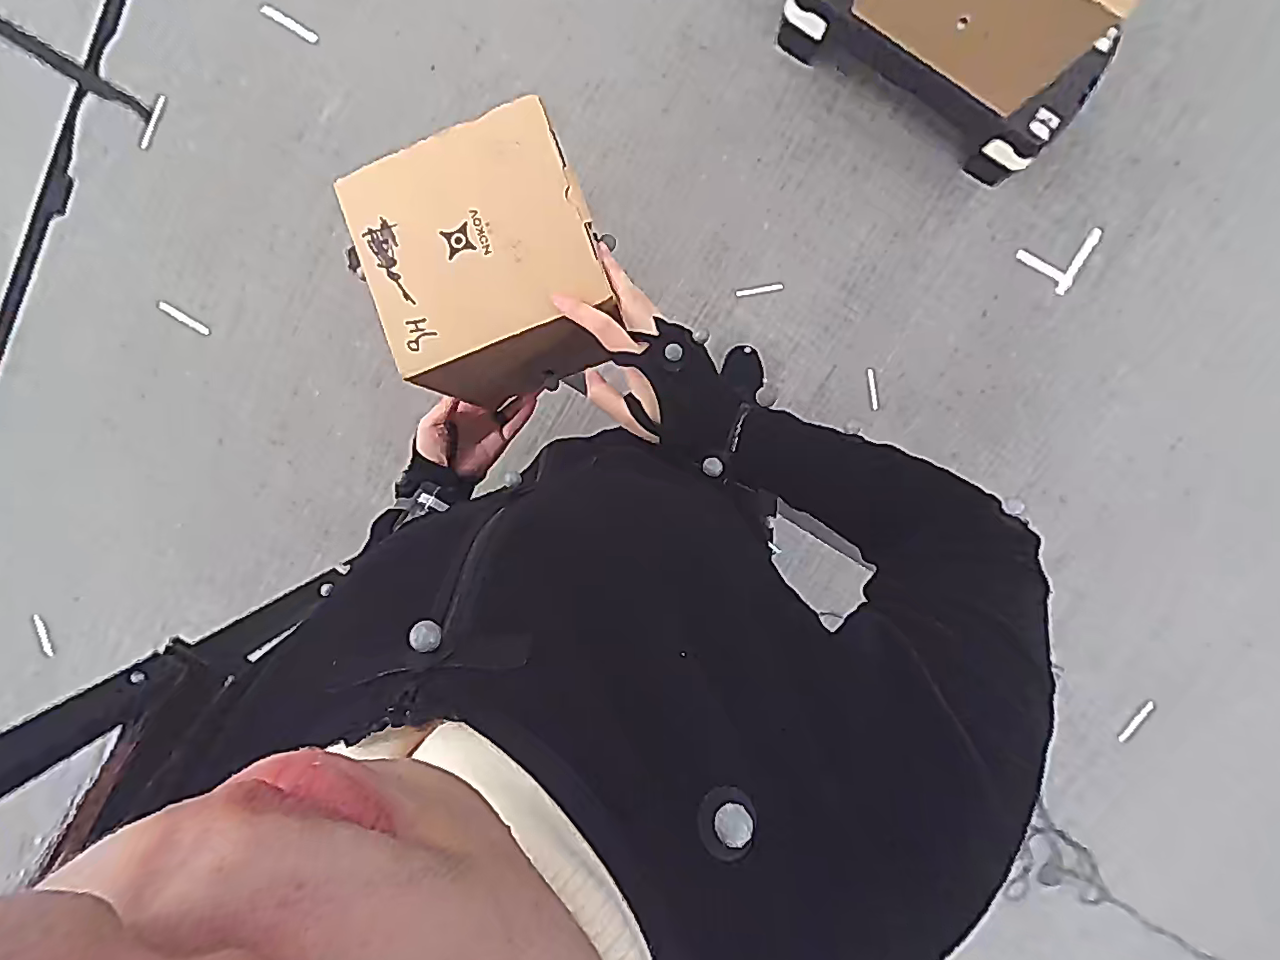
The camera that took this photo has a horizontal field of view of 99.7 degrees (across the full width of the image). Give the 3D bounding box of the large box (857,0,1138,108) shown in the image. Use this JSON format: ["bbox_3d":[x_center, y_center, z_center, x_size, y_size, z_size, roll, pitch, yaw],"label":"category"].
[{"bbox_3d":[0.684,-0.978,0.963,0.408,0.320,0.320,32,98,-1],"label":"large box"}]

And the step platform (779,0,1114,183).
[{"bbox_3d":[0.658,-1.007,1.201,0.684,0.204,0.286,37,99,-2],"label":"step platform"}]

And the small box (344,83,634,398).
[{"bbox_3d":[-0.109,-0.184,0.473,0.179,0.176,0.168,-19,88,4],"label":"small box"}]
